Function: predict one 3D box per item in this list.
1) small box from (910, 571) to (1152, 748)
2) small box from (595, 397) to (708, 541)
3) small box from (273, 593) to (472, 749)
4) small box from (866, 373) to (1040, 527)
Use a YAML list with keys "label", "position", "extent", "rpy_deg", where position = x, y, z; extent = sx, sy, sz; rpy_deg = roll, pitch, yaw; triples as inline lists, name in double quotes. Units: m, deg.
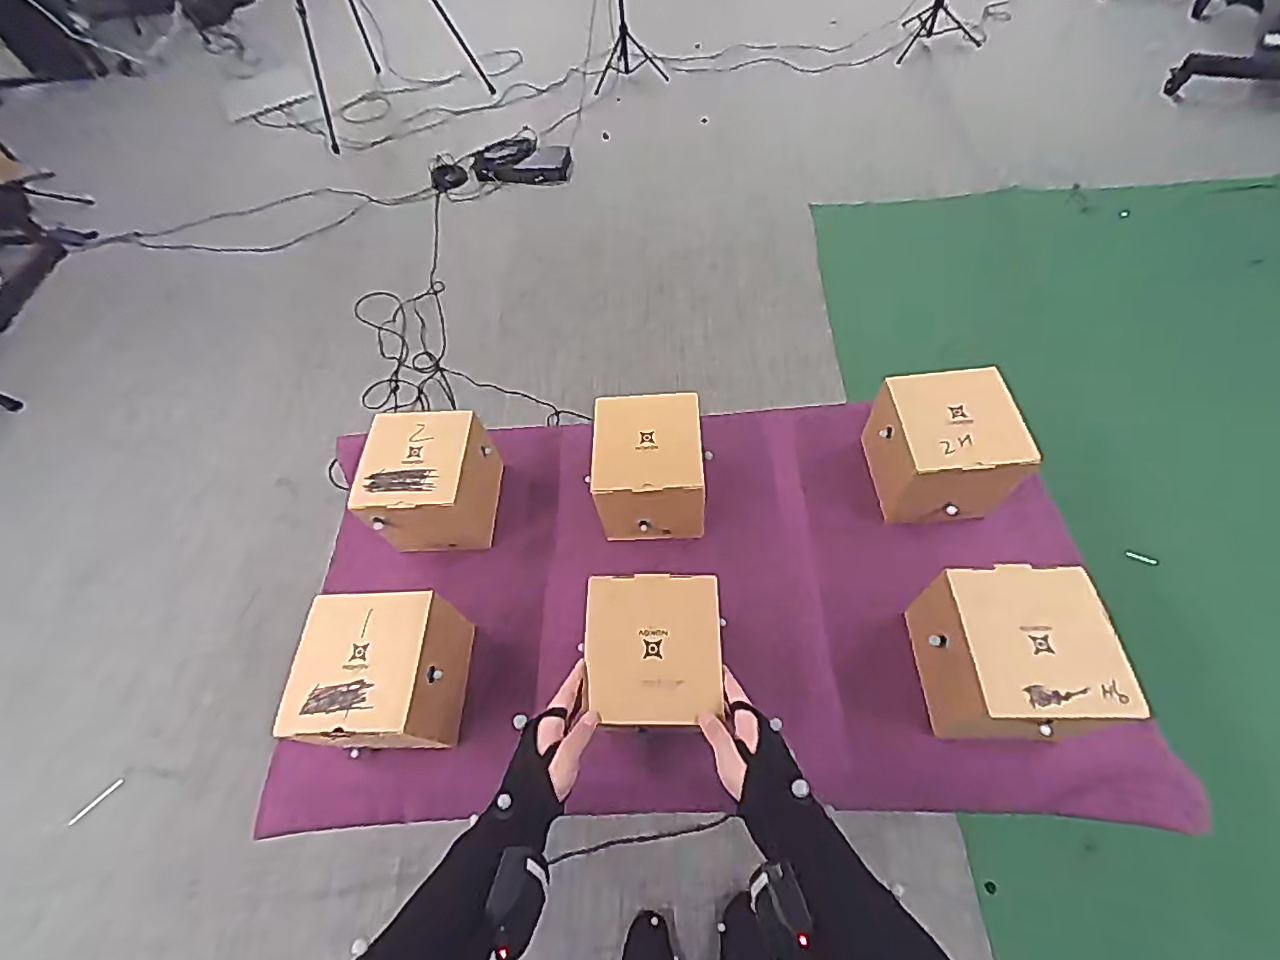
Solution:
- label: "small box"
  position: [0.469, 0.231, 0.689]
  extent: [0.168, 0.176, 0.179]
  rpy_deg: [-2, 56, 6]
- label: "small box"
  position: [0.020, -0.014, 0.884]
  extent: [0.168, 0.176, 0.179]
  rpy_deg: [-2, 60, 3]
- label: "small box"
  position: [-0.346, 0.267, 0.742]
  extent: [0.168, 0.176, 0.179]
  rpy_deg: [-2, 58, 3]
- label: "small box"
  position: [0.473, -0.043, 0.854]
  extent: [0.168, 0.176, 0.179]
  rpy_deg: [-5, 59, 6]
